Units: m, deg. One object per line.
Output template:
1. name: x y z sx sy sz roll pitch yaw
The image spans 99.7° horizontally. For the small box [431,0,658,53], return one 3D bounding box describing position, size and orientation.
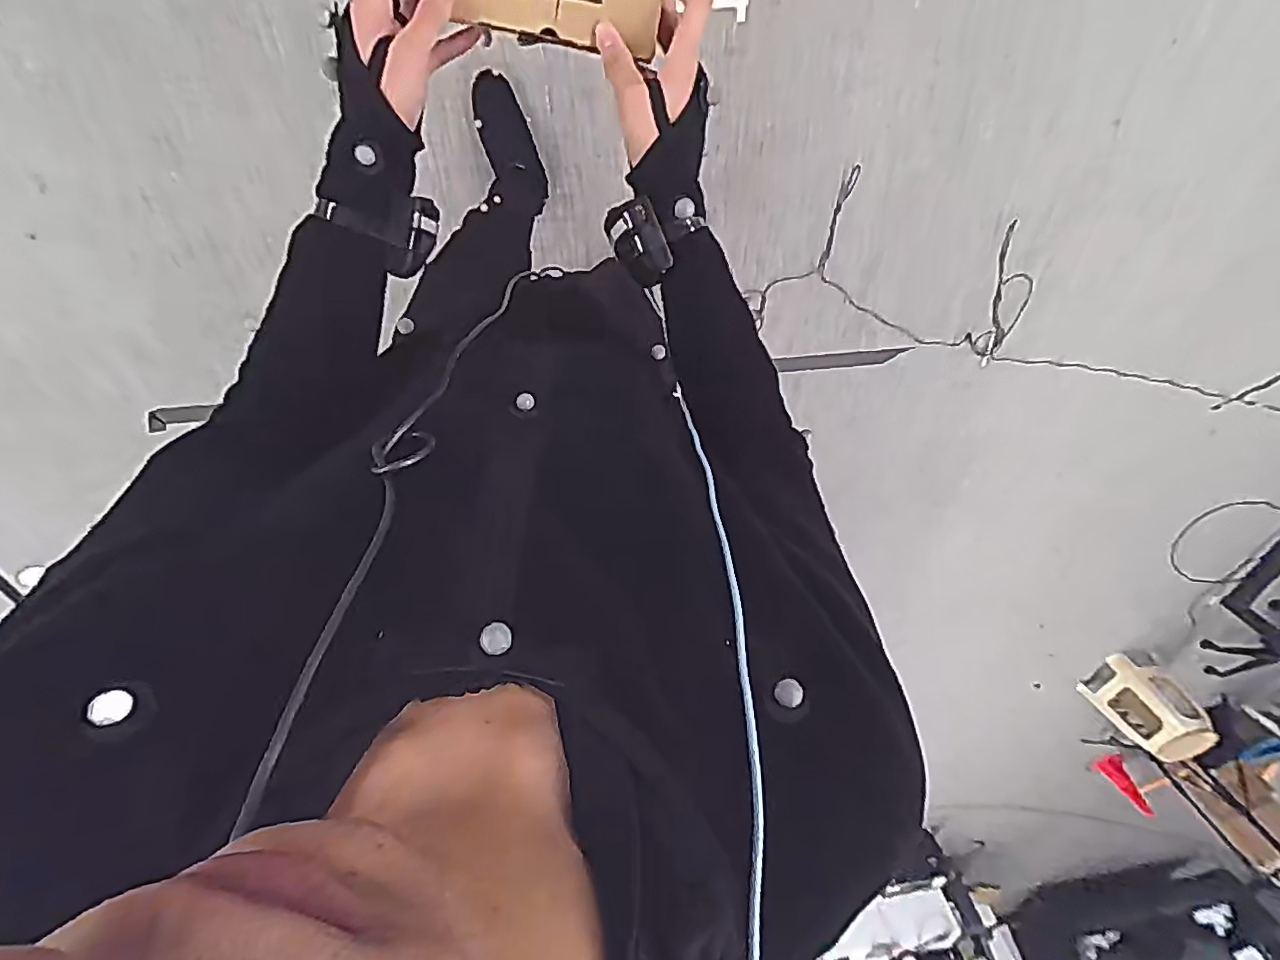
1. small box: -0.069 -0.452 0.409 0.168 0.176 0.179 1 129 -15
